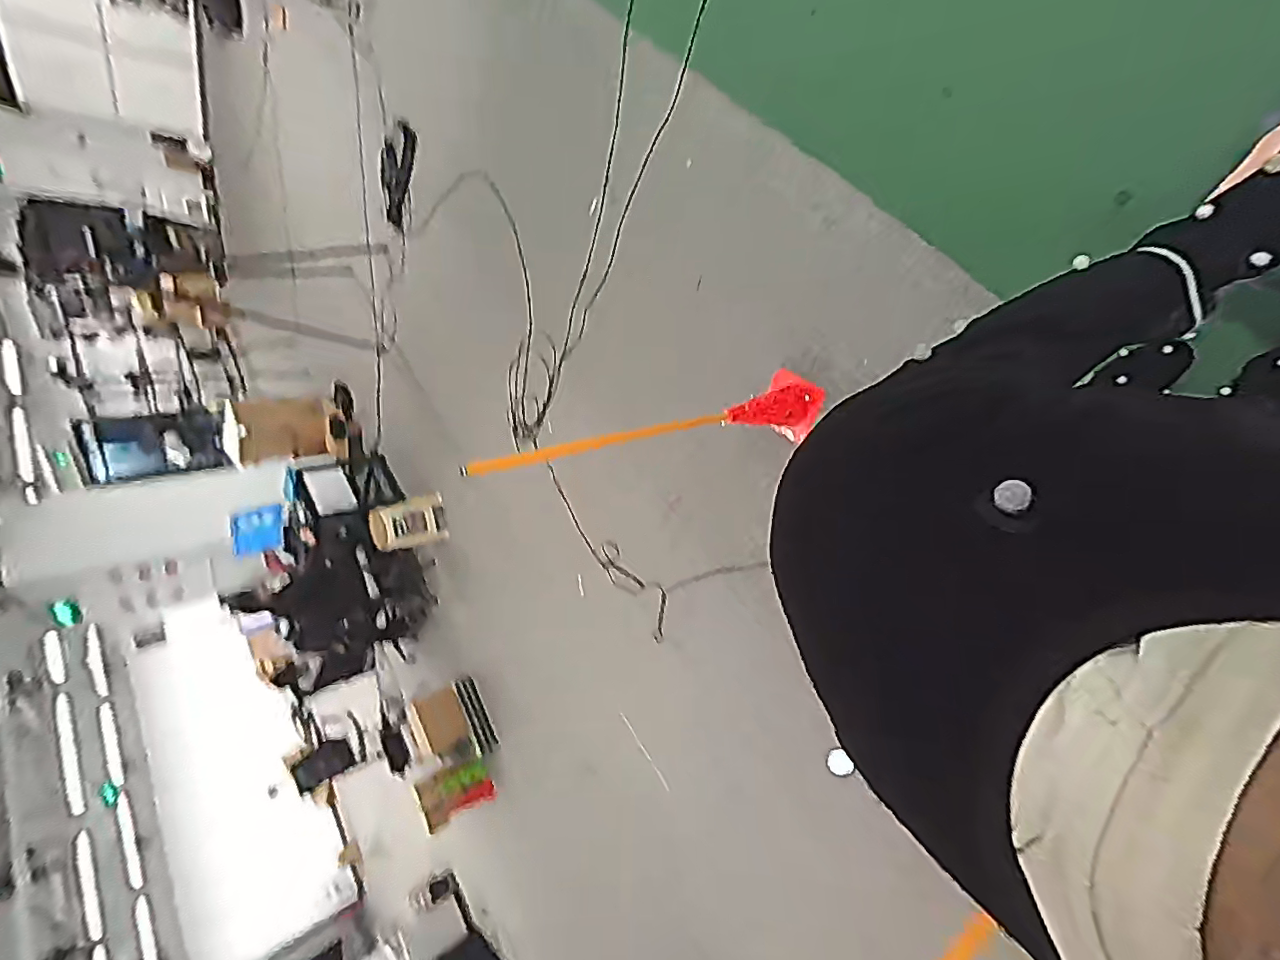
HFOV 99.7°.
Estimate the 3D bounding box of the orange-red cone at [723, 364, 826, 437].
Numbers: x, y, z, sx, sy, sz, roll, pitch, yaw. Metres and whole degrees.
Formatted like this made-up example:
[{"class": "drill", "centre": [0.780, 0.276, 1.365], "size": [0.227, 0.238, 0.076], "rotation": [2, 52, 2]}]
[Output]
[{"class": "orange-red cone", "centre": [0.387, -0.236, 1.709], "size": [0.199, 0.360, 0.198], "rotation": [42, 128, 33]}]
